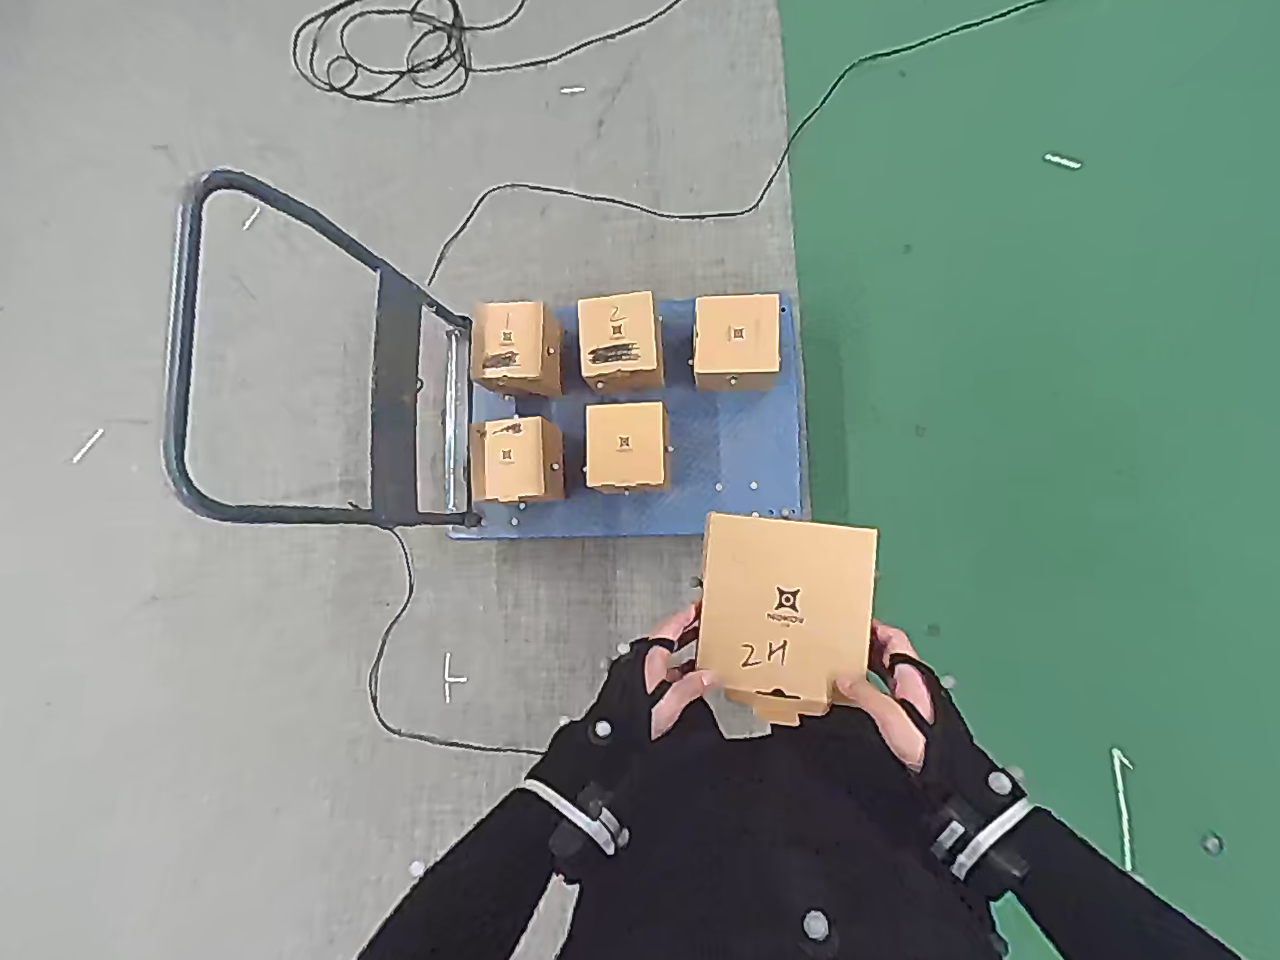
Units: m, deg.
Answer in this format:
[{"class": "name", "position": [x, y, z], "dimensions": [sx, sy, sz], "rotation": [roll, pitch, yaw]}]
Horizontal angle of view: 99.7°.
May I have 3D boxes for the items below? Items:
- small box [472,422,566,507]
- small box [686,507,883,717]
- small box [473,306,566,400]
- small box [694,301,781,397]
[{"class": "small box", "position": [-0.272, -0.028, 1.243], "dimensions": [0.168, 0.176, 0.179], "rotation": [-4, 84, 8]}, {"class": "small box", "position": [0.151, 0.132, 0.611], "dimensions": [0.168, 0.176, 0.179], "rotation": [12, 88, 8]}, {"class": "small box", "position": [-0.277, -0.290, 1.272], "dimensions": [0.168, 0.176, 0.179], "rotation": [1, 84, 8]}, {"class": "small box", "position": [0.215, -0.283, 1.202], "dimensions": [0.179, 0.176, 0.168], "rotation": [1, 85, 9]}]
